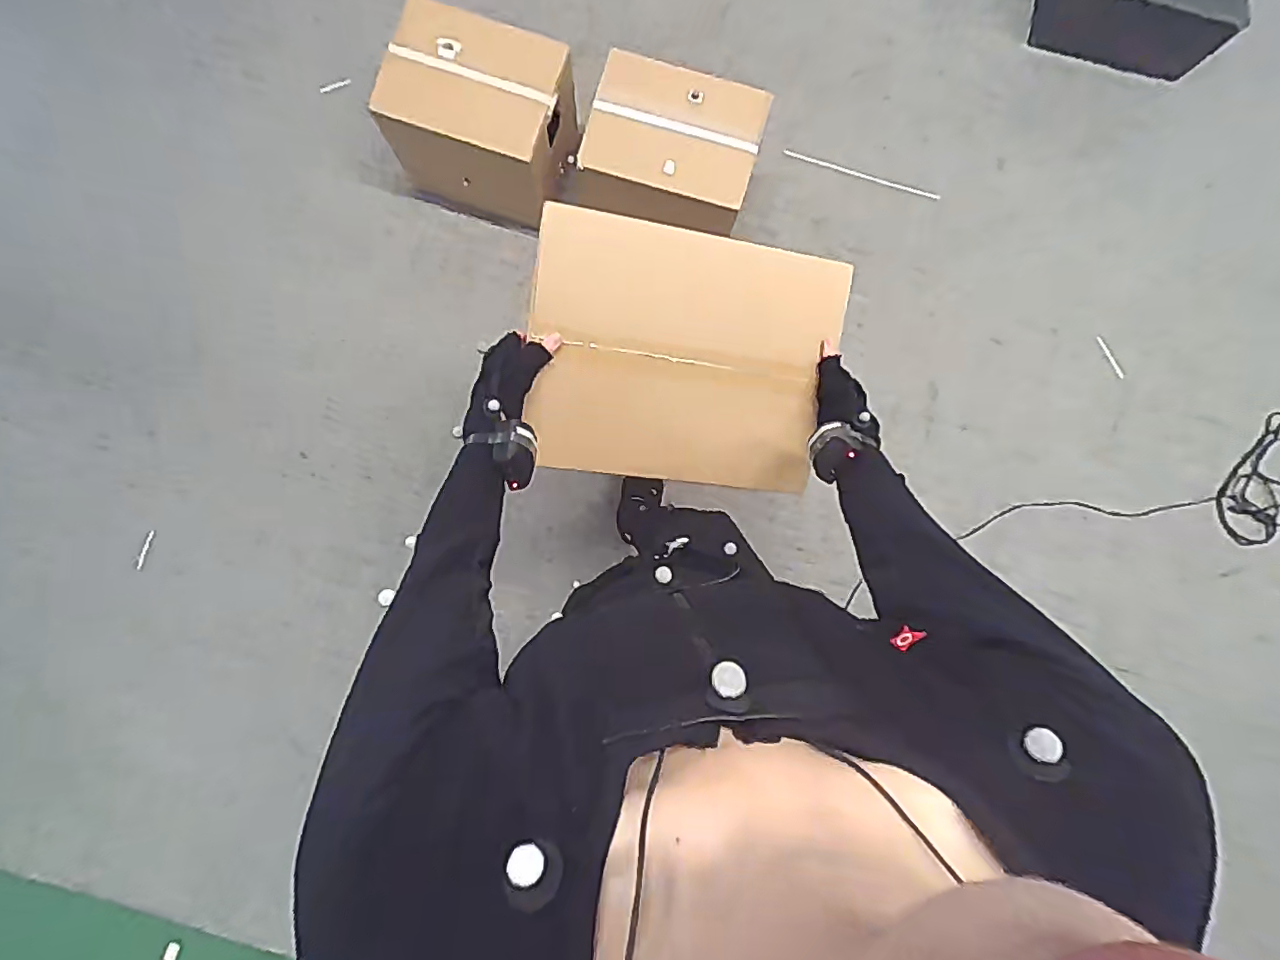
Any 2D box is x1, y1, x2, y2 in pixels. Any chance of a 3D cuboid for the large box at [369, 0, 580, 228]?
[{"bbox_3d":[-0.400,-0.927,1.414,0.408,0.320,0.320,18,85,1],"label":"large box"}]
